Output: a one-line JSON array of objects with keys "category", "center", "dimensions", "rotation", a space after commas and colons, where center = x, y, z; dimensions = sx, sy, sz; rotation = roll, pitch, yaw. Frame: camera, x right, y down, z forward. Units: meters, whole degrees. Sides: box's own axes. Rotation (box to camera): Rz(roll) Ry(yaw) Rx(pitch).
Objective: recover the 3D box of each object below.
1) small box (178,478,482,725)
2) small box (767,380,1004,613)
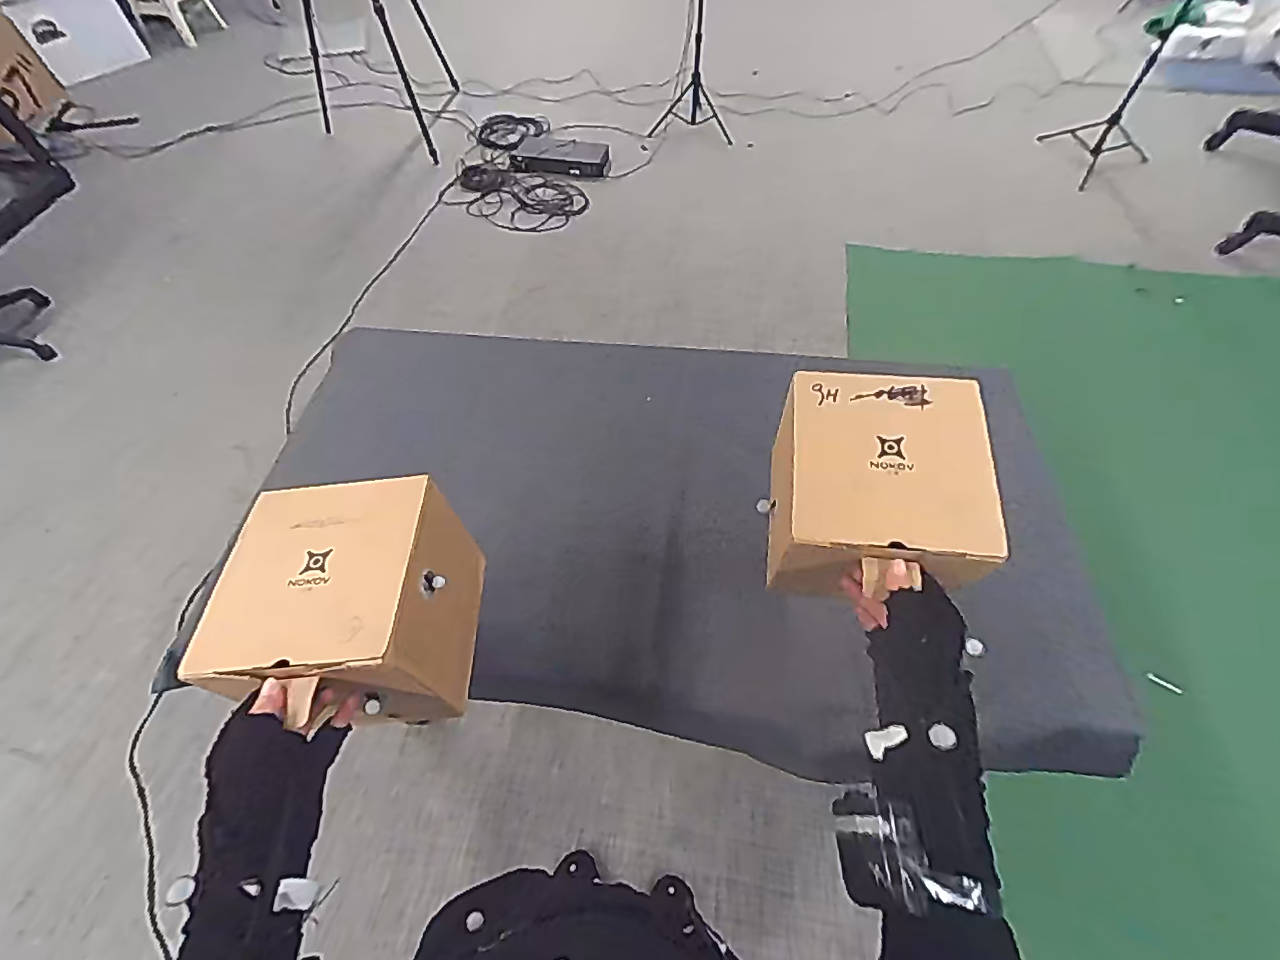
[{"category": "small box", "center": [-0.262, 0.122, 0.513], "dimensions": [0.168, 0.176, 0.179], "rotation": [-5, 52, 2]}, {"category": "small box", "center": [0.221, 0.024, 0.534], "dimensions": [0.168, 0.176, 0.179], "rotation": [5, 64, 8]}]
